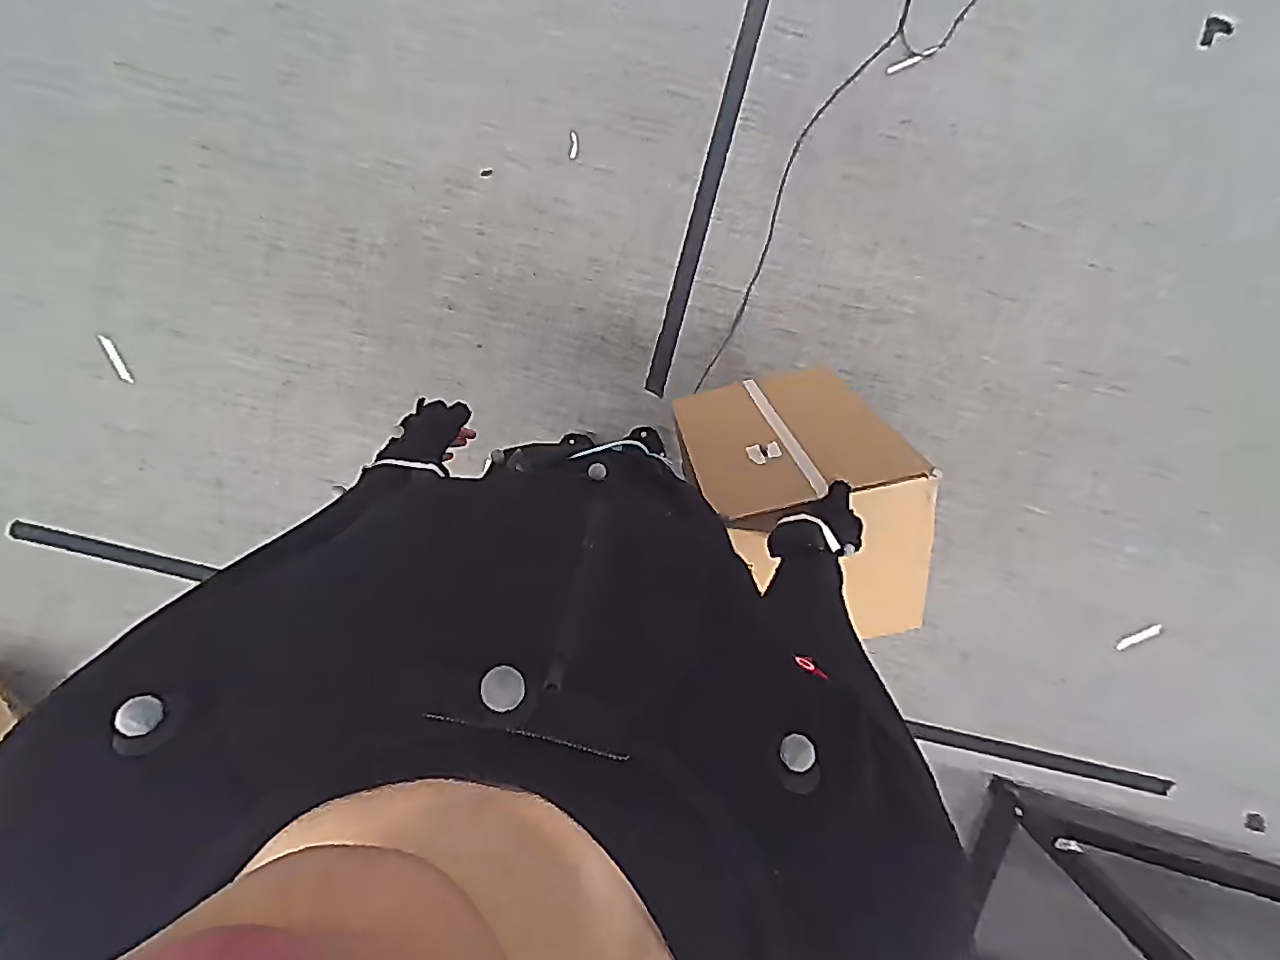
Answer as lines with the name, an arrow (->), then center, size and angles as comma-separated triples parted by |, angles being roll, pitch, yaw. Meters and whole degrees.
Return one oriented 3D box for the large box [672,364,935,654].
large box -> 0.265, 0.035, 0.986 | 0.320, 0.408, 0.320 | -15, 125, 3
